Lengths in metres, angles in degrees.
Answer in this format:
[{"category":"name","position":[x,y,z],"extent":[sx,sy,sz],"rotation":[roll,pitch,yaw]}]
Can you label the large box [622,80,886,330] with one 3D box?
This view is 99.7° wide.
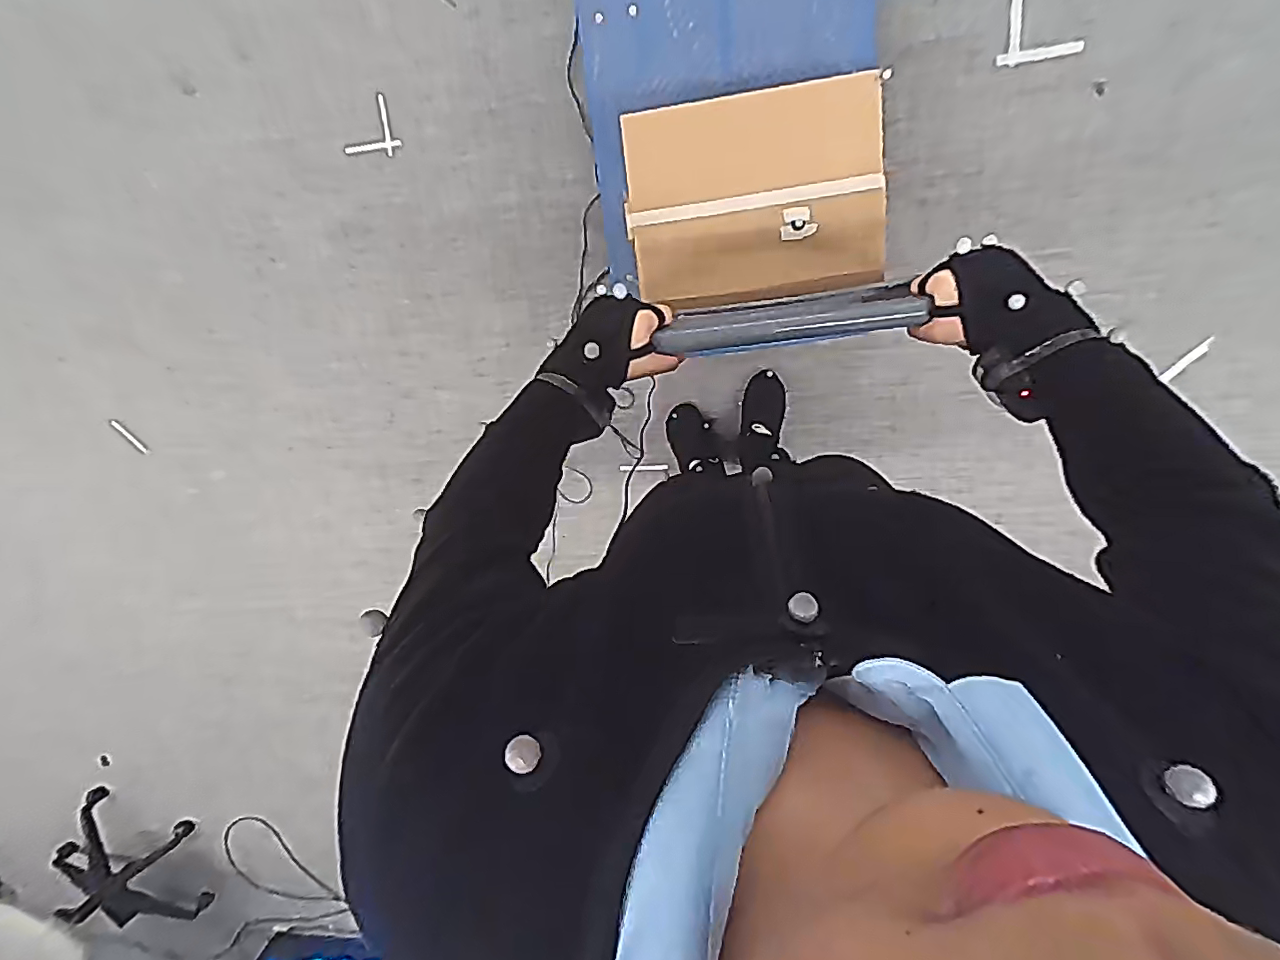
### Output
[{"category":"large box","position":[0.197,-0.470,1.013],"extent":[0.408,0.320,0.320],"rotation":[-6,105,7]}]
